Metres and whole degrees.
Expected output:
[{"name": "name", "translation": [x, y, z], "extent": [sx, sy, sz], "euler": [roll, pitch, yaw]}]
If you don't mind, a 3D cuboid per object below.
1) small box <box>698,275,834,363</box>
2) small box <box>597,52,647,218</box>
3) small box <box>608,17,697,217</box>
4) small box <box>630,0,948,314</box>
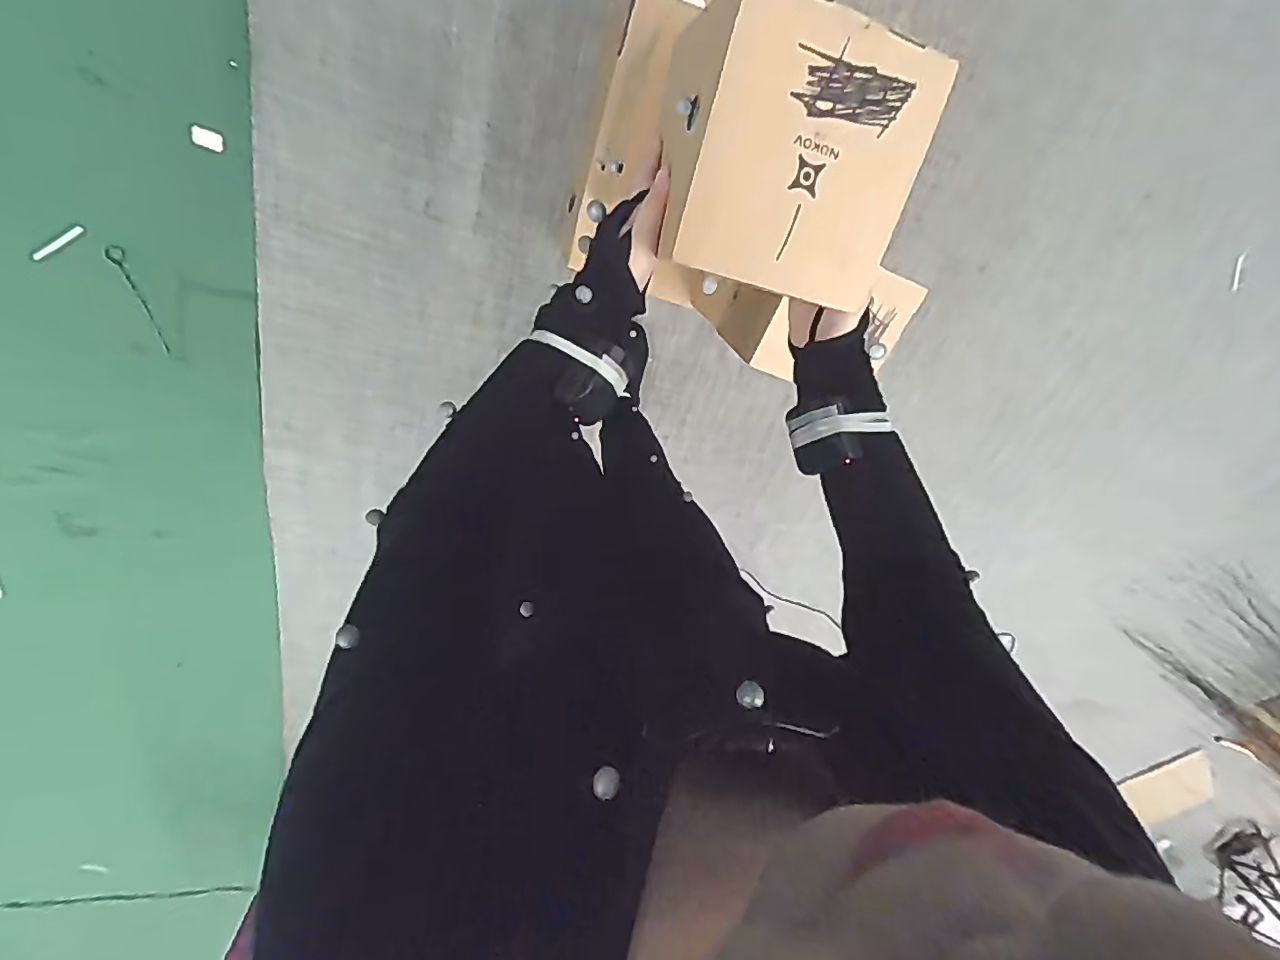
[{"name": "small box", "translation": [0.209, -0.316, 0.876], "extent": [0.168, 0.176, 0.179], "euler": [15, 114, -16]}, {"name": "small box", "translation": [0.039, -0.459, 0.774], "extent": [0.168, 0.176, 0.179], "euler": [14, 115, -15]}, {"name": "small box", "translation": [0.065, -0.383, 0.632], "extent": [0.168, 0.176, 0.179], "euler": [13, 116, -15]}, {"name": "small box", "translation": [0.100, -0.258, 0.451], "extent": [0.168, 0.176, 0.179], "euler": [10, 113, -17]}]
